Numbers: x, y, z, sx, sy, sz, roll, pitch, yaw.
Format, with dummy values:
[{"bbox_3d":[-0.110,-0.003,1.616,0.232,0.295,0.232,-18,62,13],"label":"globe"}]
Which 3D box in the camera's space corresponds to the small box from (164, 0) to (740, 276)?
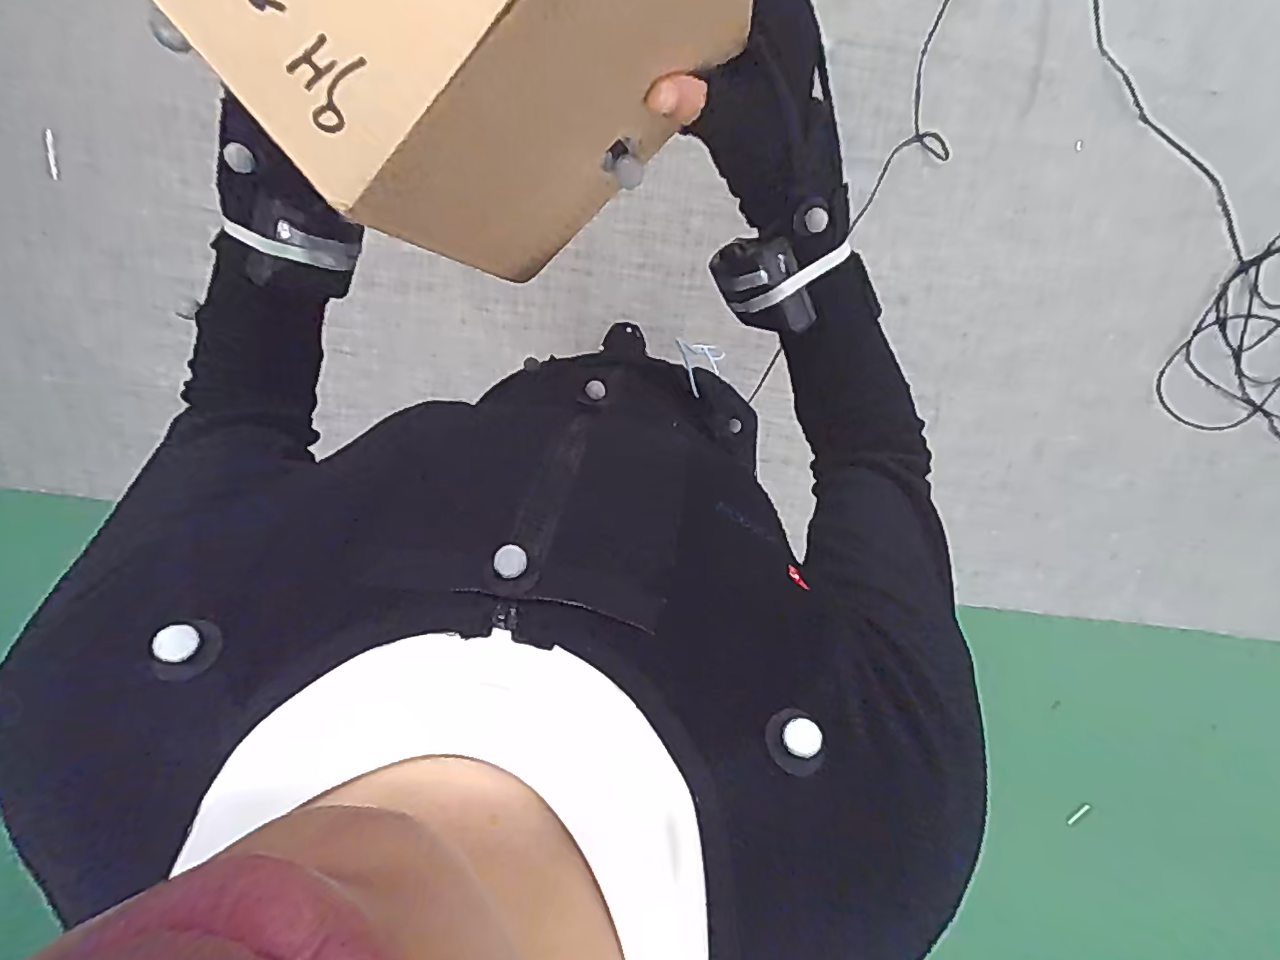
[{"bbox_3d":[-0.070,-0.215,0.223,0.179,0.176,0.168,-39,93,14],"label":"small box"}]
